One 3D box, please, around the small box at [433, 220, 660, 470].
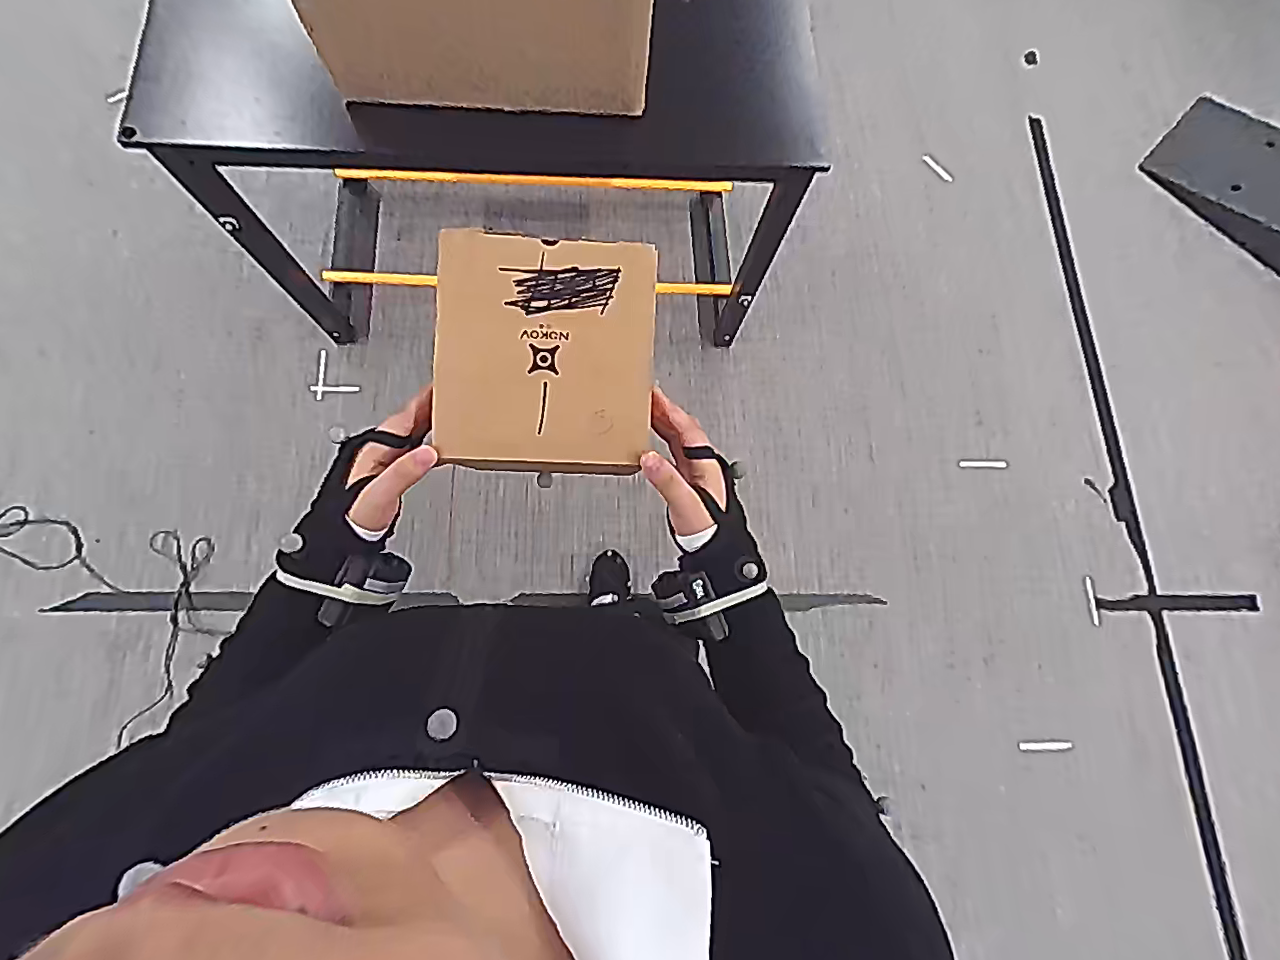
[{"bbox_3d":[-0.076,-0.103,0.487,0.168,0.176,0.179,2,88,-5],"label":"small box"}]
